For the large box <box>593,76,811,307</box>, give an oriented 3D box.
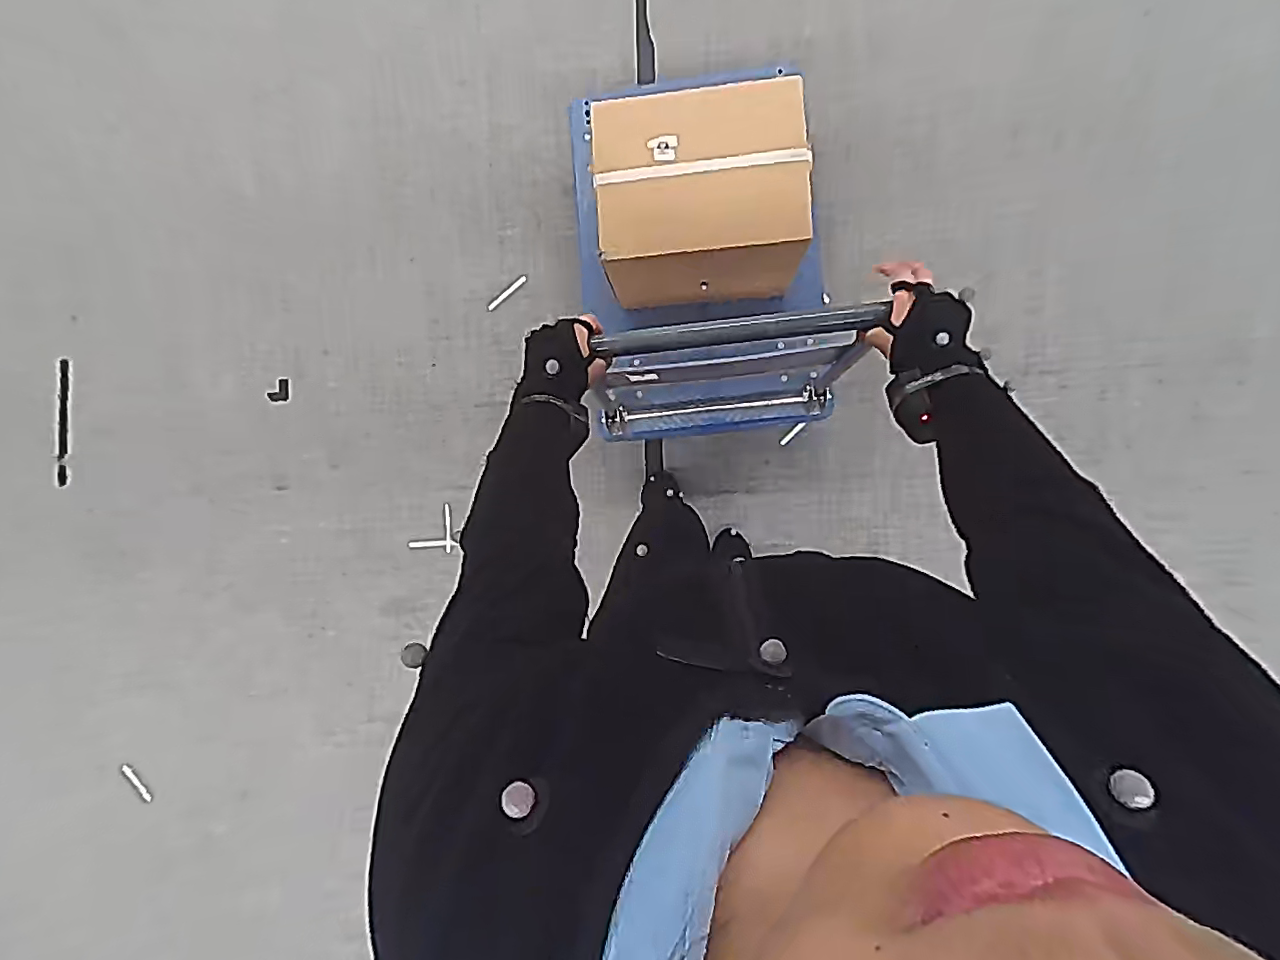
[{"bbox_3d":[0.132,-0.598,1.190,0.408,0.320,0.320,-4,88,6],"label":"large box"}]
